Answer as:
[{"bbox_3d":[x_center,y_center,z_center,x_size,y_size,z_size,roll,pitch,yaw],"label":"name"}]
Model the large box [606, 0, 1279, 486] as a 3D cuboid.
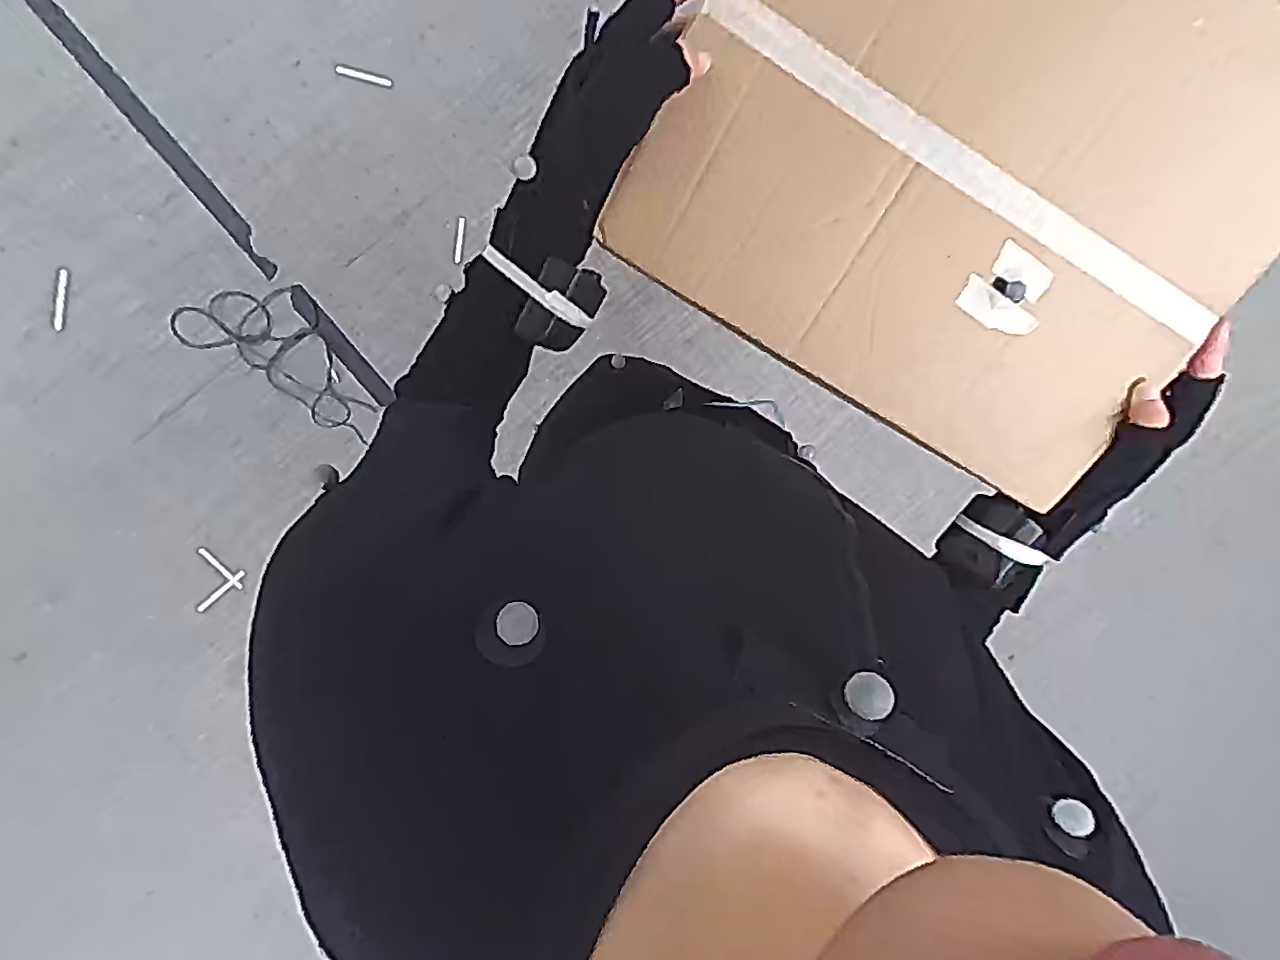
[{"bbox_3d":[0.223,-0.258,0.506,0.408,0.320,0.320,30,109,-8],"label":"large box"}]
